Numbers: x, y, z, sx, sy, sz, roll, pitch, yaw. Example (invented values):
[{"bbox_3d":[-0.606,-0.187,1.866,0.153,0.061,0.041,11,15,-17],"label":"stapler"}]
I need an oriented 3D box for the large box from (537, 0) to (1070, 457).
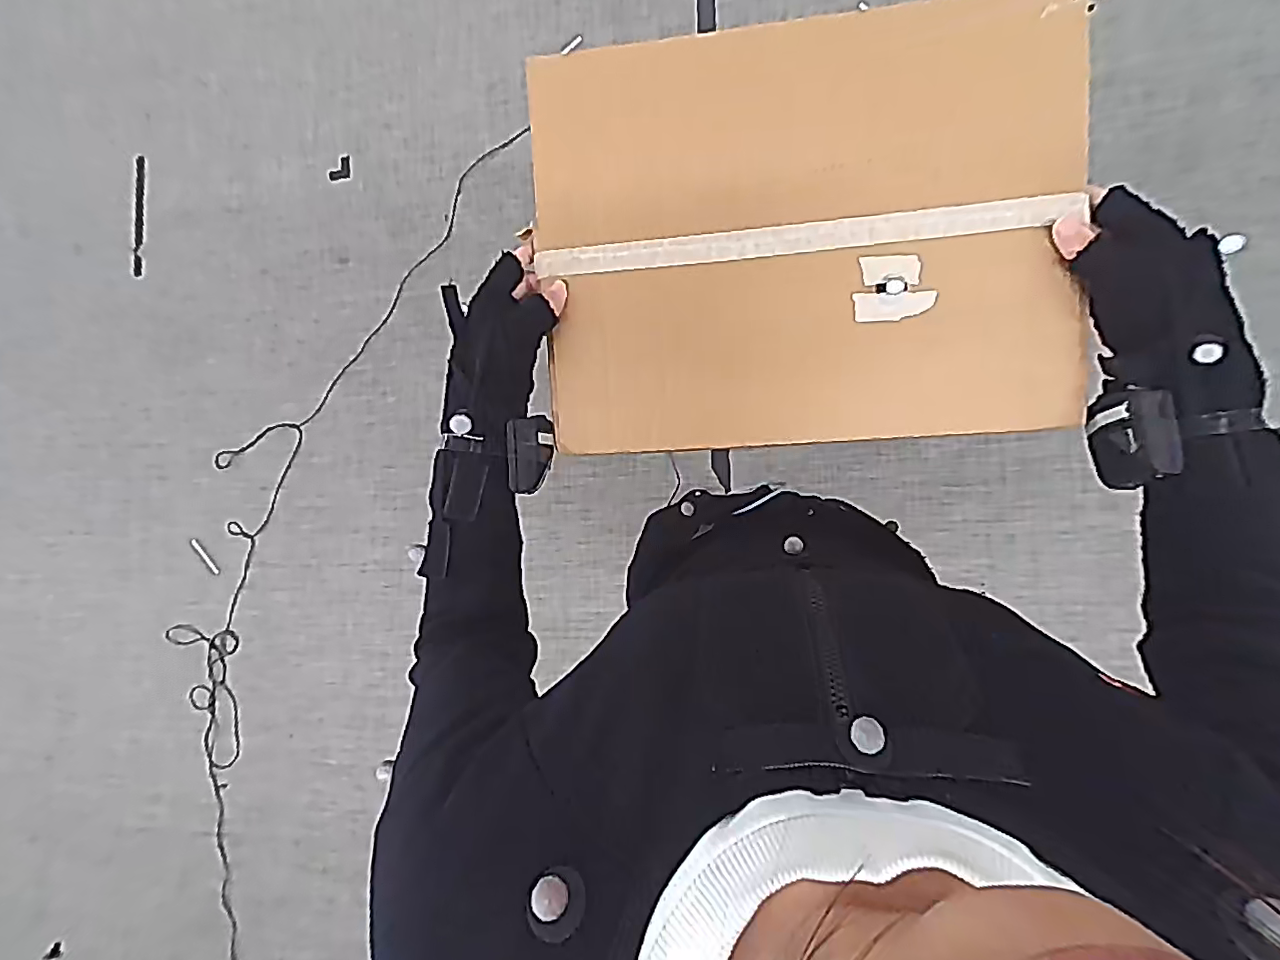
[{"bbox_3d":[0.138,-0.199,0.574,0.408,0.320,0.320,-4,95,6],"label":"large box"}]
